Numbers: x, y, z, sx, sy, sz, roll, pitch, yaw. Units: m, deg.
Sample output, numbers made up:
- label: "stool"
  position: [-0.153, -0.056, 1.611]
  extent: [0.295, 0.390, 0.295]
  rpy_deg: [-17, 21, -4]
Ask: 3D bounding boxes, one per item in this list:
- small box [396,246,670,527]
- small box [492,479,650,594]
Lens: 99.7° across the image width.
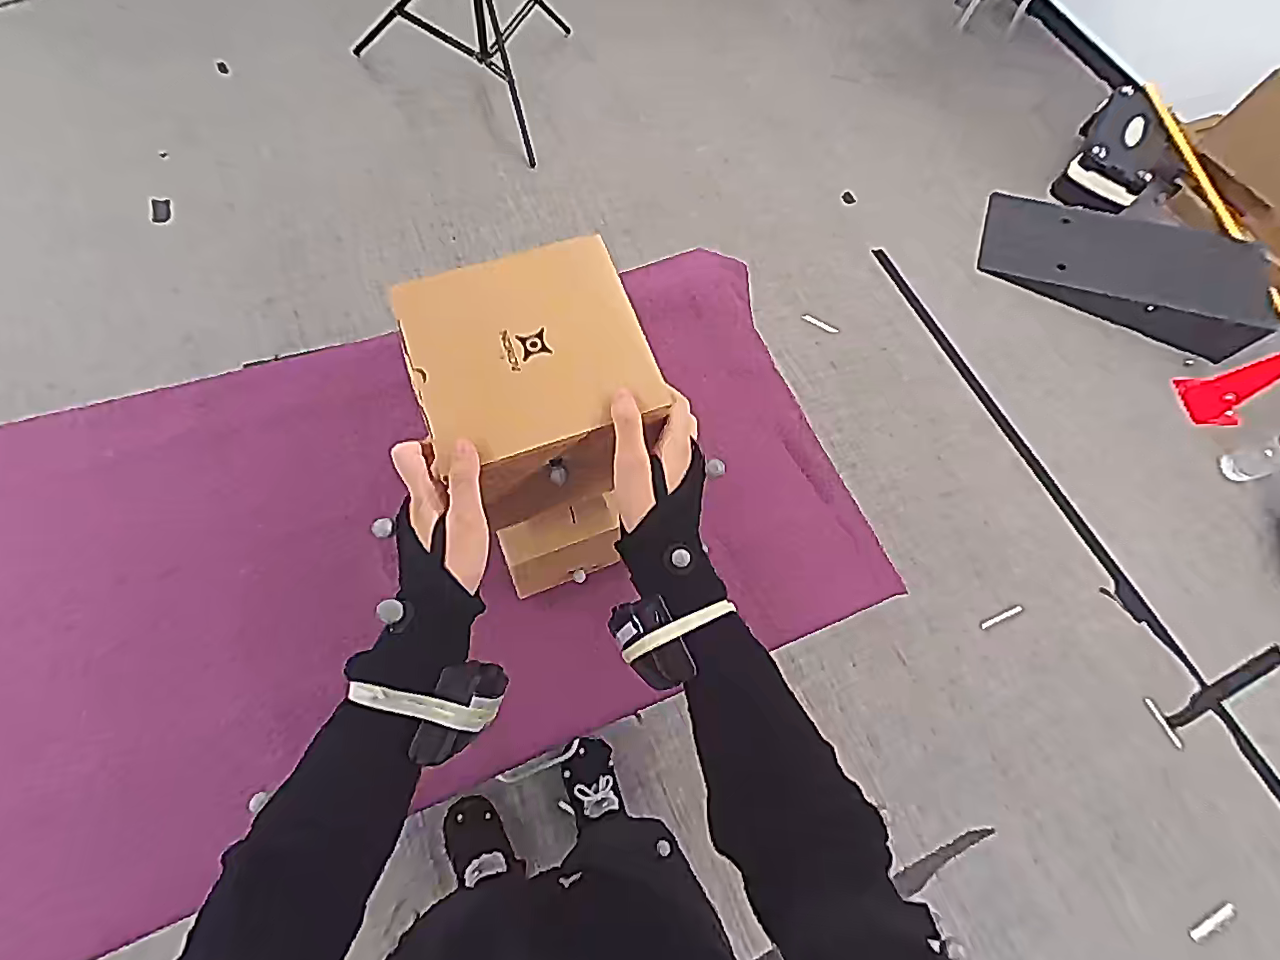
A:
- label: "small box"
  position: [-0.090, -0.072, 0.492]
  extent: [0.179, 0.176, 0.168]
  rpy_deg: [-19, 74, -9]
- label: "small box"
  position: [-0.105, 0.021, 0.672]
  extent: [0.168, 0.176, 0.179]
  rpy_deg: [-19, 71, -15]
